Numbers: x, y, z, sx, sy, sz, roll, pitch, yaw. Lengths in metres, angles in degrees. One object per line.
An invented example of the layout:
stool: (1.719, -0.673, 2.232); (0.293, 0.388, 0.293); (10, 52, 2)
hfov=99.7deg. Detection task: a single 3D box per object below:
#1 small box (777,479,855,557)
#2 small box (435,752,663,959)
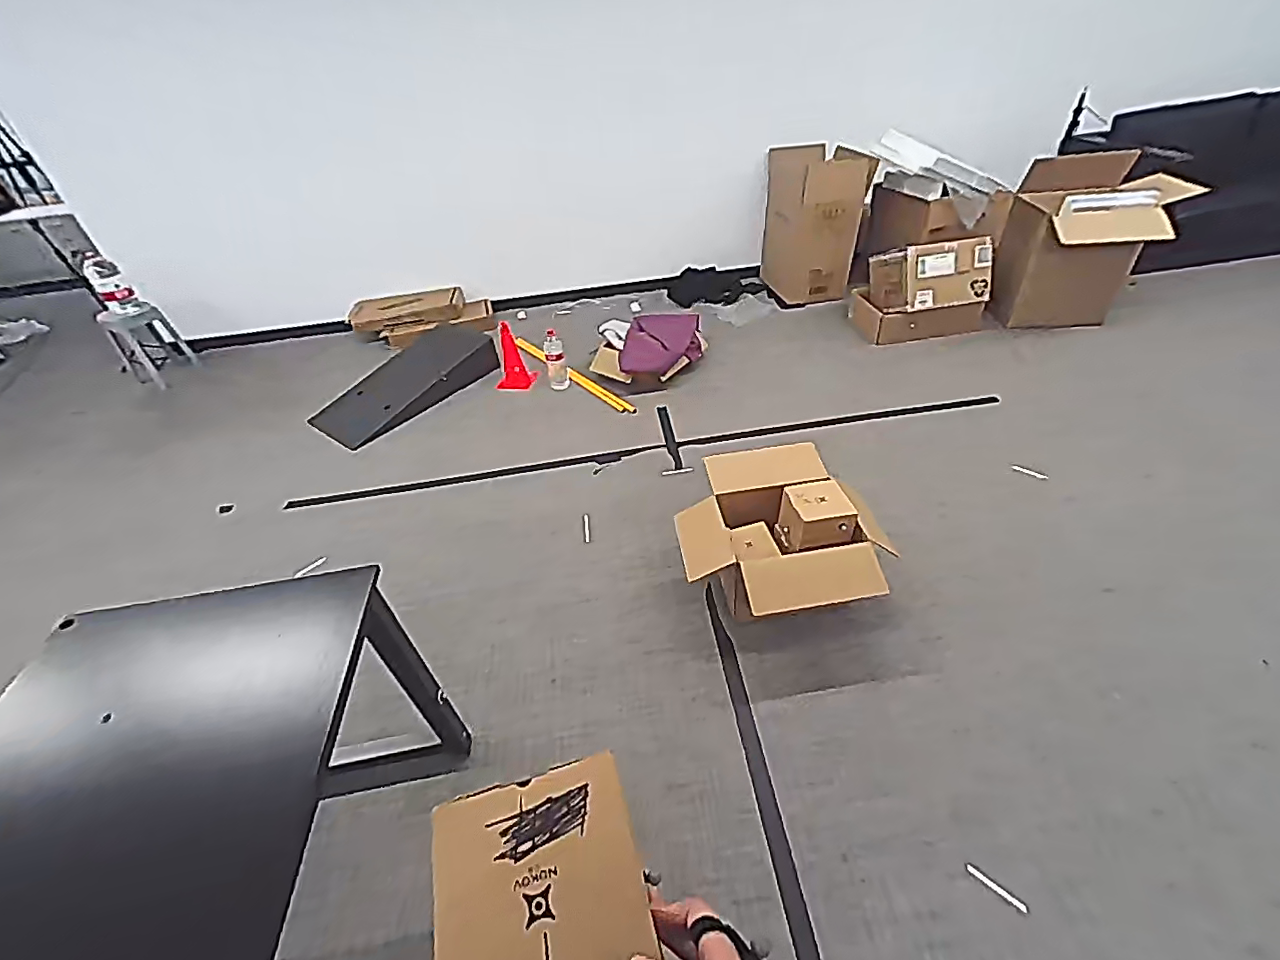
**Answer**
small box: (0.553, 0.123, 1.726); (0.179, 0.176, 0.168); (-9, 40, -5)
small box: (-0.078, 0.386, 0.493); (0.168, 0.176, 0.179); (-14, 48, -9)
